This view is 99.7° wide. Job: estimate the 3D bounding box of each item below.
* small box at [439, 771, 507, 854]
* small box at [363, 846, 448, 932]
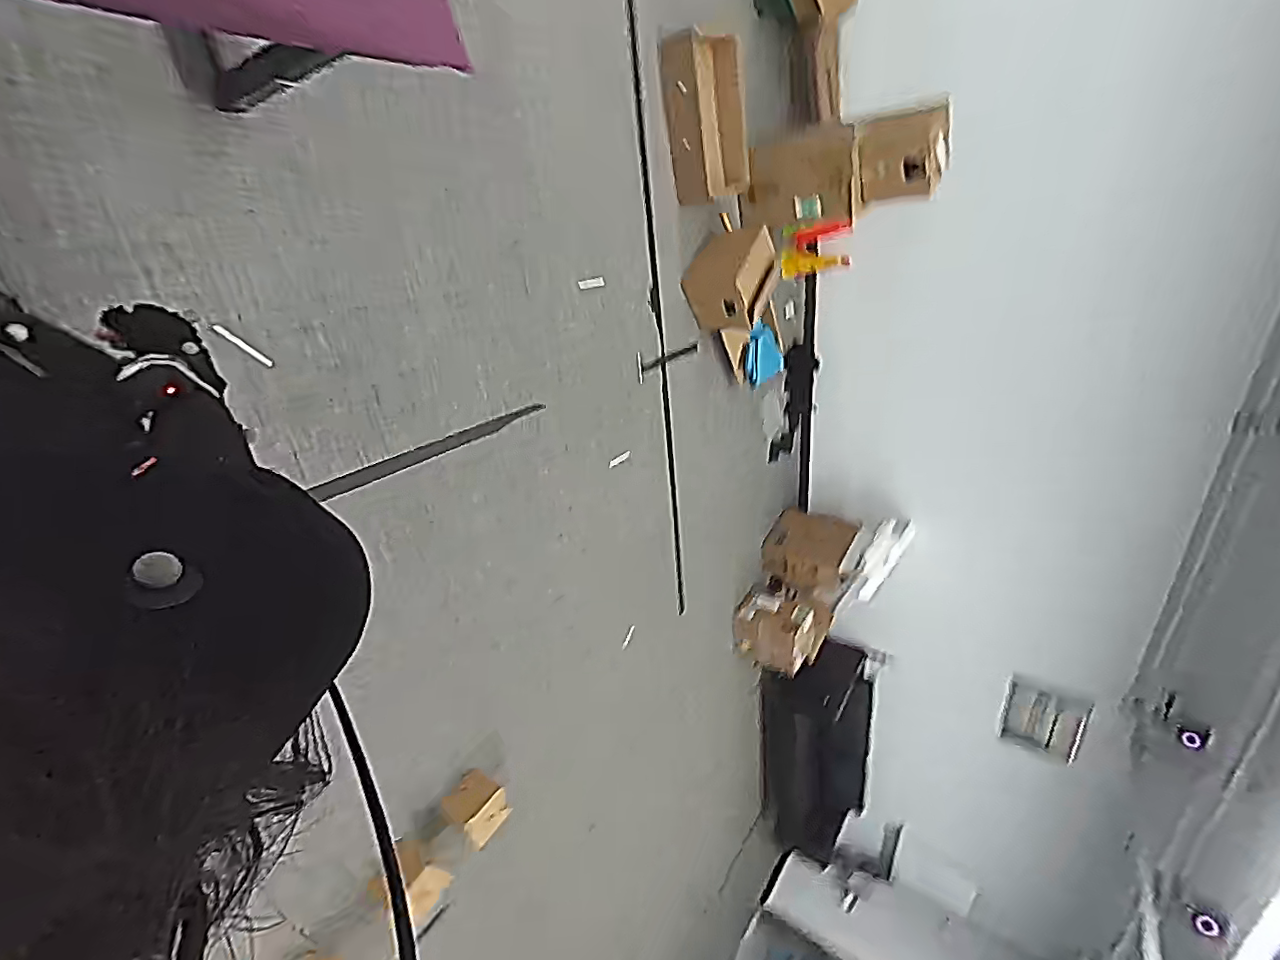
[{"bbox_3d":[-0.647,1.273,2.079,0.179,0.176,0.168,-35,128,-45],"label":"small box"},{"bbox_3d":[-0.815,1.417,1.880,0.168,0.176,0.179,-53,138,-34],"label":"small box"}]
